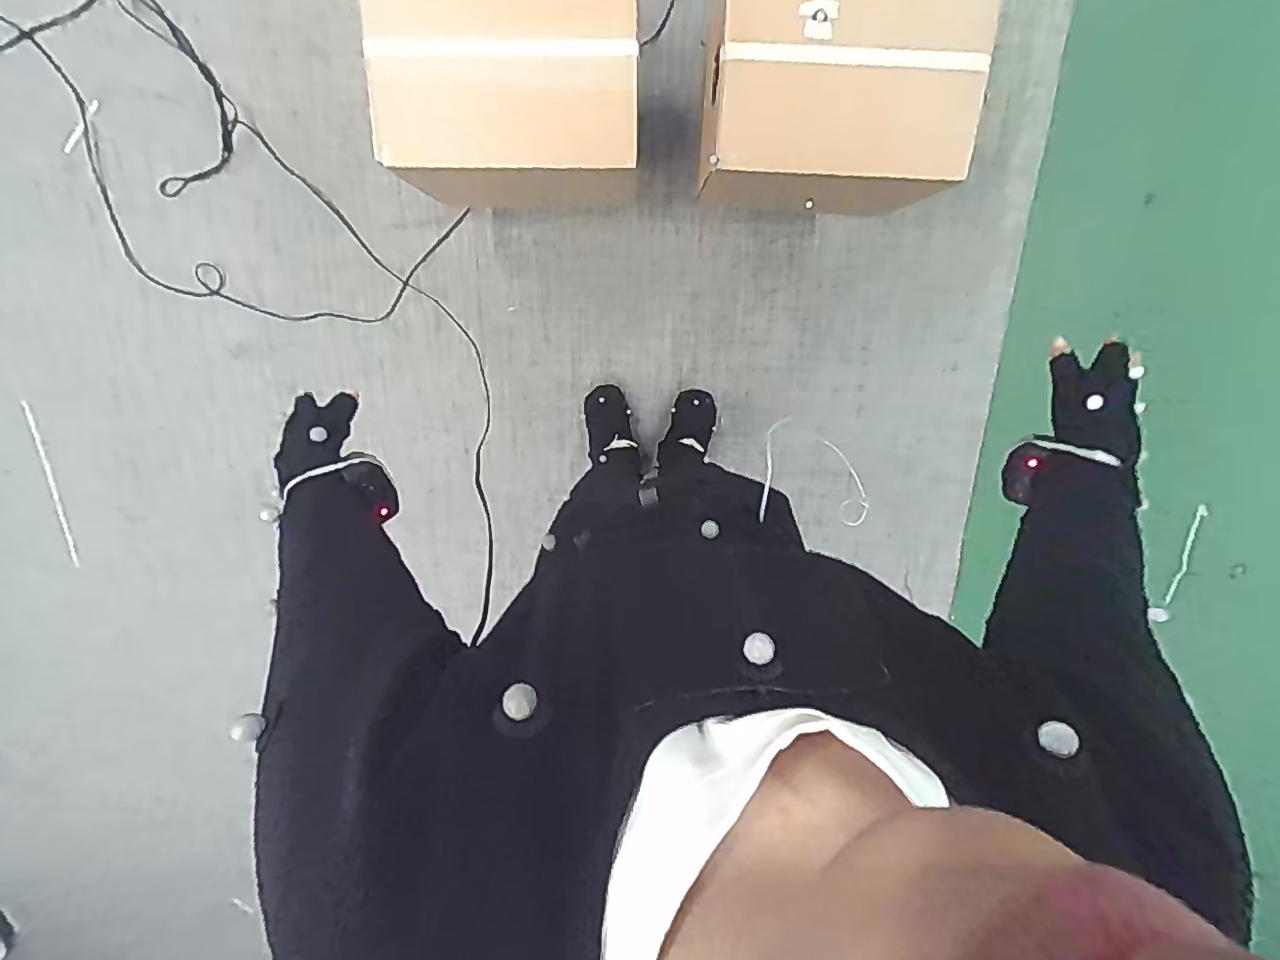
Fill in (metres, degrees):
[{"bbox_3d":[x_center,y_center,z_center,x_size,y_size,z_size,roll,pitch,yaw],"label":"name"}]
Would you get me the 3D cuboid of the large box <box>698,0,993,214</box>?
[{"bbox_3d":[0.329,-0.678,0.977,0.408,0.320,0.320,3,106,-1],"label":"large box"}]
